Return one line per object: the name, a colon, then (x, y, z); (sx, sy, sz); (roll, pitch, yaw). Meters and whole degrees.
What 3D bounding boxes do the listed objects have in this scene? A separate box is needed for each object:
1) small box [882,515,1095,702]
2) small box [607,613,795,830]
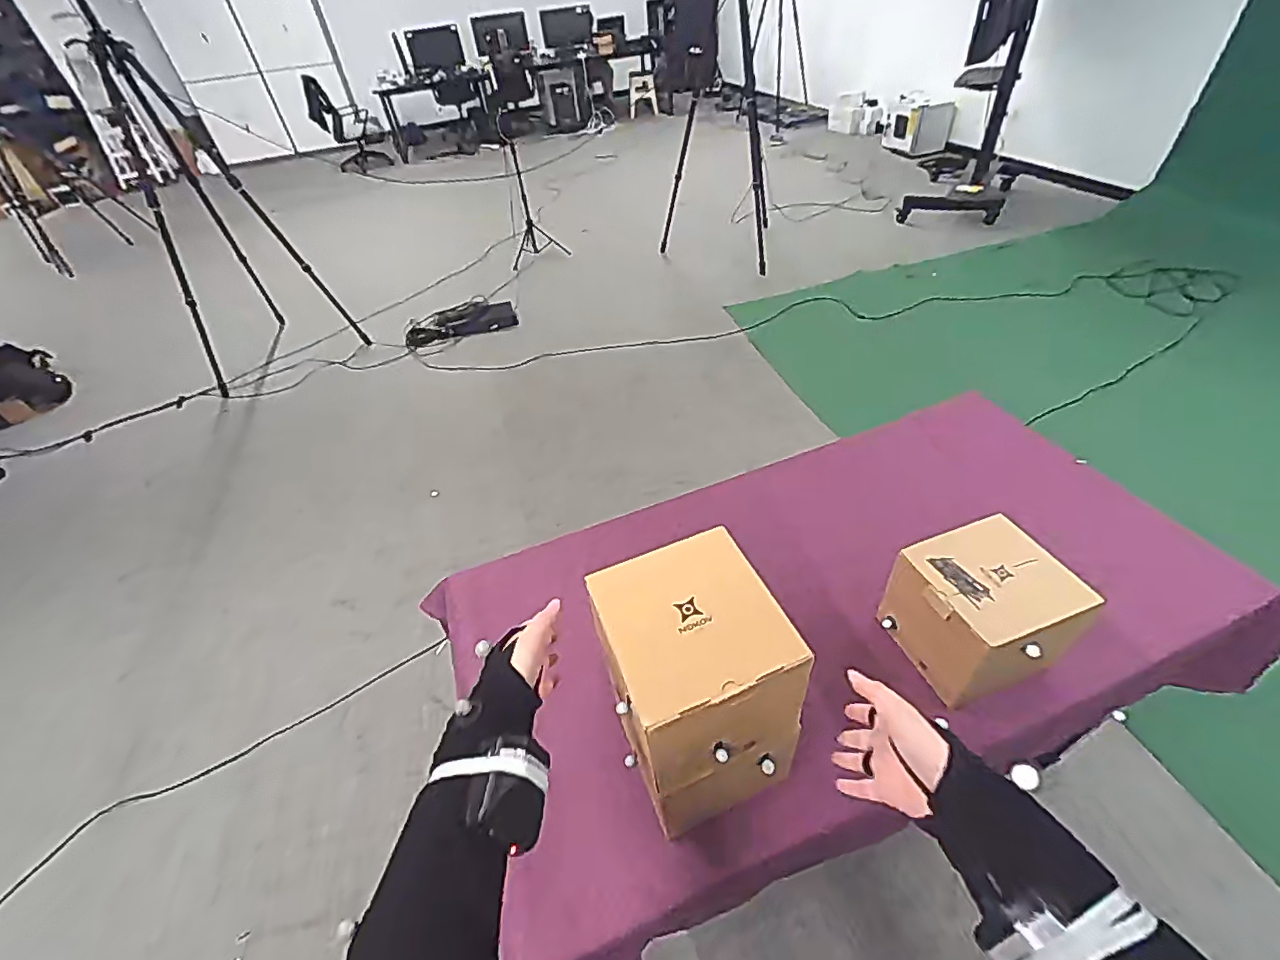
small box: (0.470, 0.184, 0.767); (0.179, 0.176, 0.168); (-17, 44, -10)
small box: (0.072, 0.308, 0.693); (0.179, 0.176, 0.168); (-19, 44, -12)
